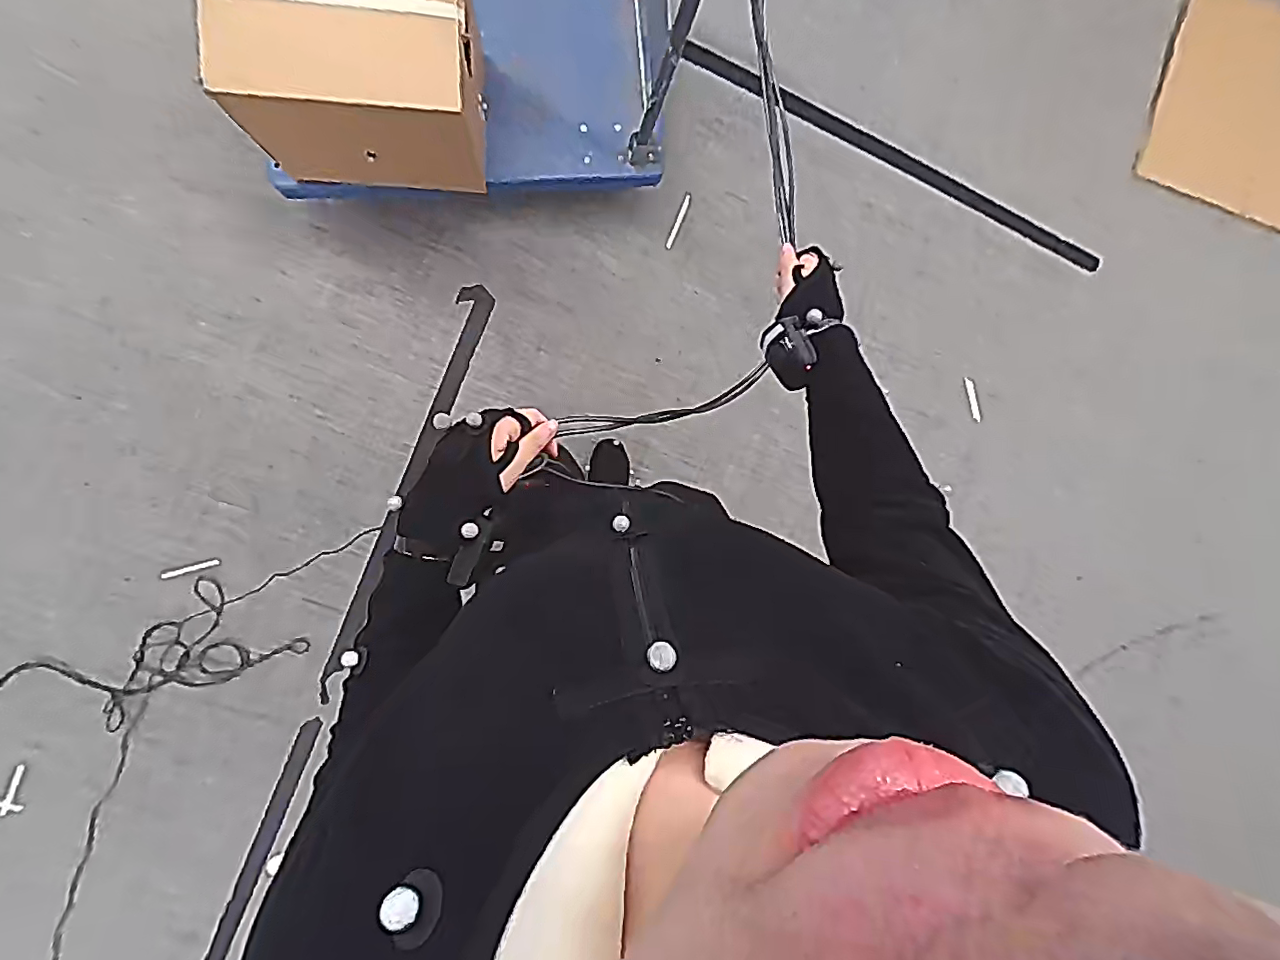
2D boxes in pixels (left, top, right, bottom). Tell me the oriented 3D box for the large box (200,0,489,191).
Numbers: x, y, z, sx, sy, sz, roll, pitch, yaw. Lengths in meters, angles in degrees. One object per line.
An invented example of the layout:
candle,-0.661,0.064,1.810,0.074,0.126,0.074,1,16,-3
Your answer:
large box,-0.517,-0.777,1.027,0.408,0.320,0.320,-1,94,-7
